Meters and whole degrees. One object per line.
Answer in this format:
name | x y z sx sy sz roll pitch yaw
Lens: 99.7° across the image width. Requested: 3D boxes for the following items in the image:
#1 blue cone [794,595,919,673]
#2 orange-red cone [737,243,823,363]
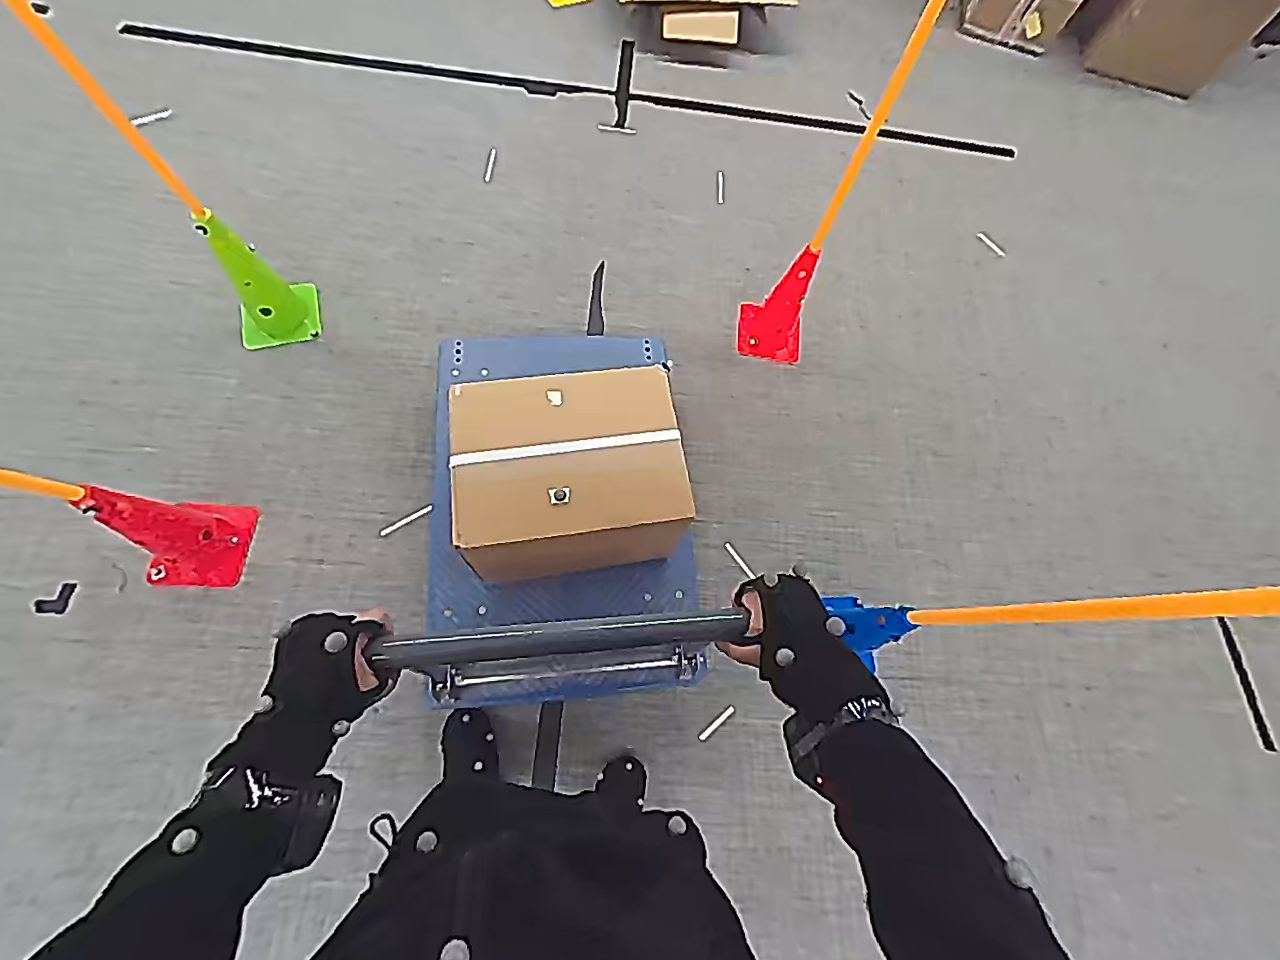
blue cone | 0.510 0.324 1.219 0.193 0.380 0.192 1 67 -7
orange-red cone | 0.430 -0.526 1.535 0.199 0.360 0.198 12 68 -3
